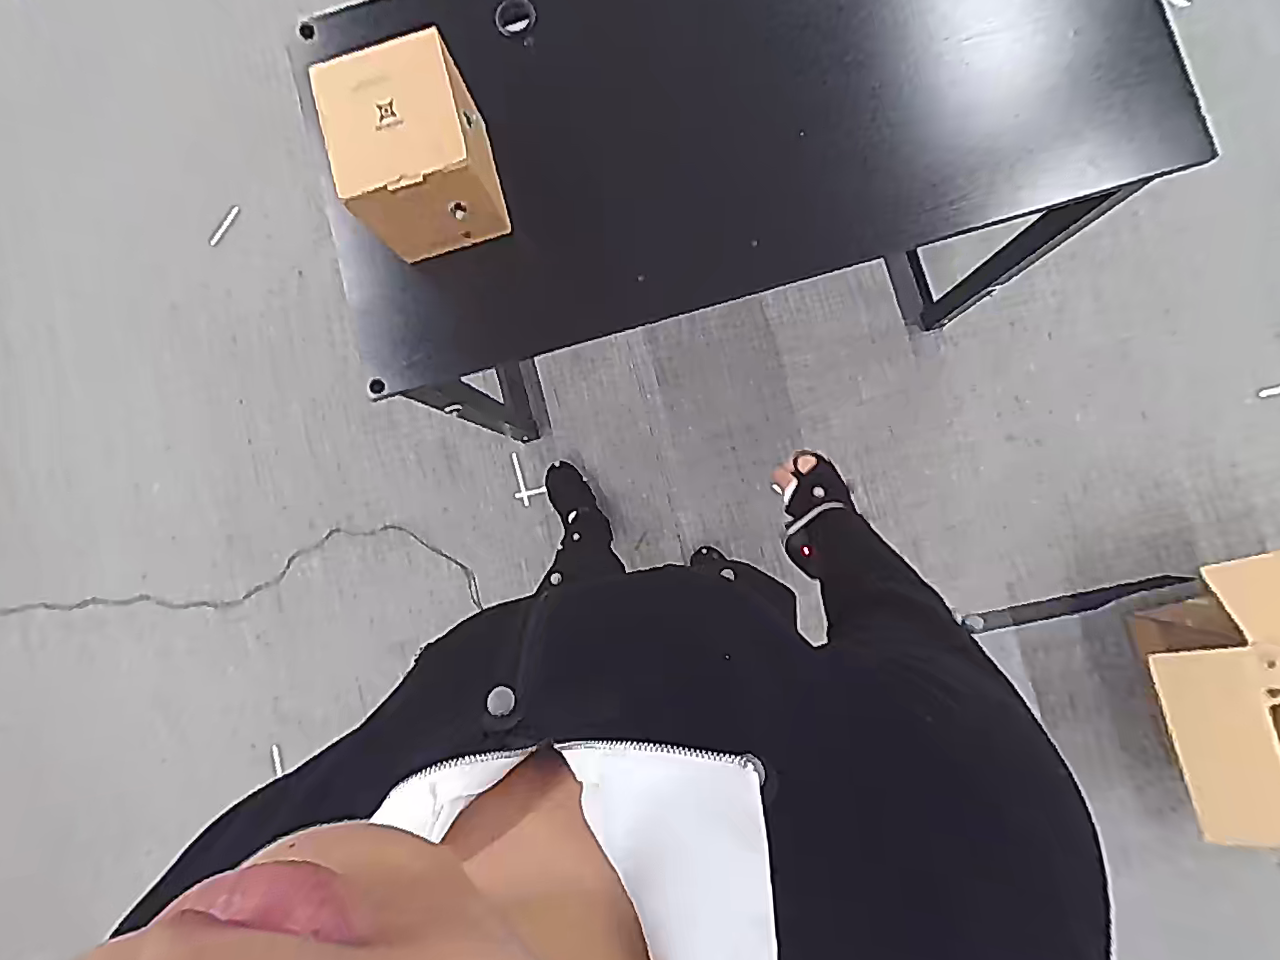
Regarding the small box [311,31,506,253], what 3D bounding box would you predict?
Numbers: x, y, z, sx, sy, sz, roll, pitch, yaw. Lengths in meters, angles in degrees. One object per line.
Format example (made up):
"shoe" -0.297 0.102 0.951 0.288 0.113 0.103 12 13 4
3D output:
"small box" -0.294 -0.429 0.724 0.168 0.176 0.179 -15 85 2
